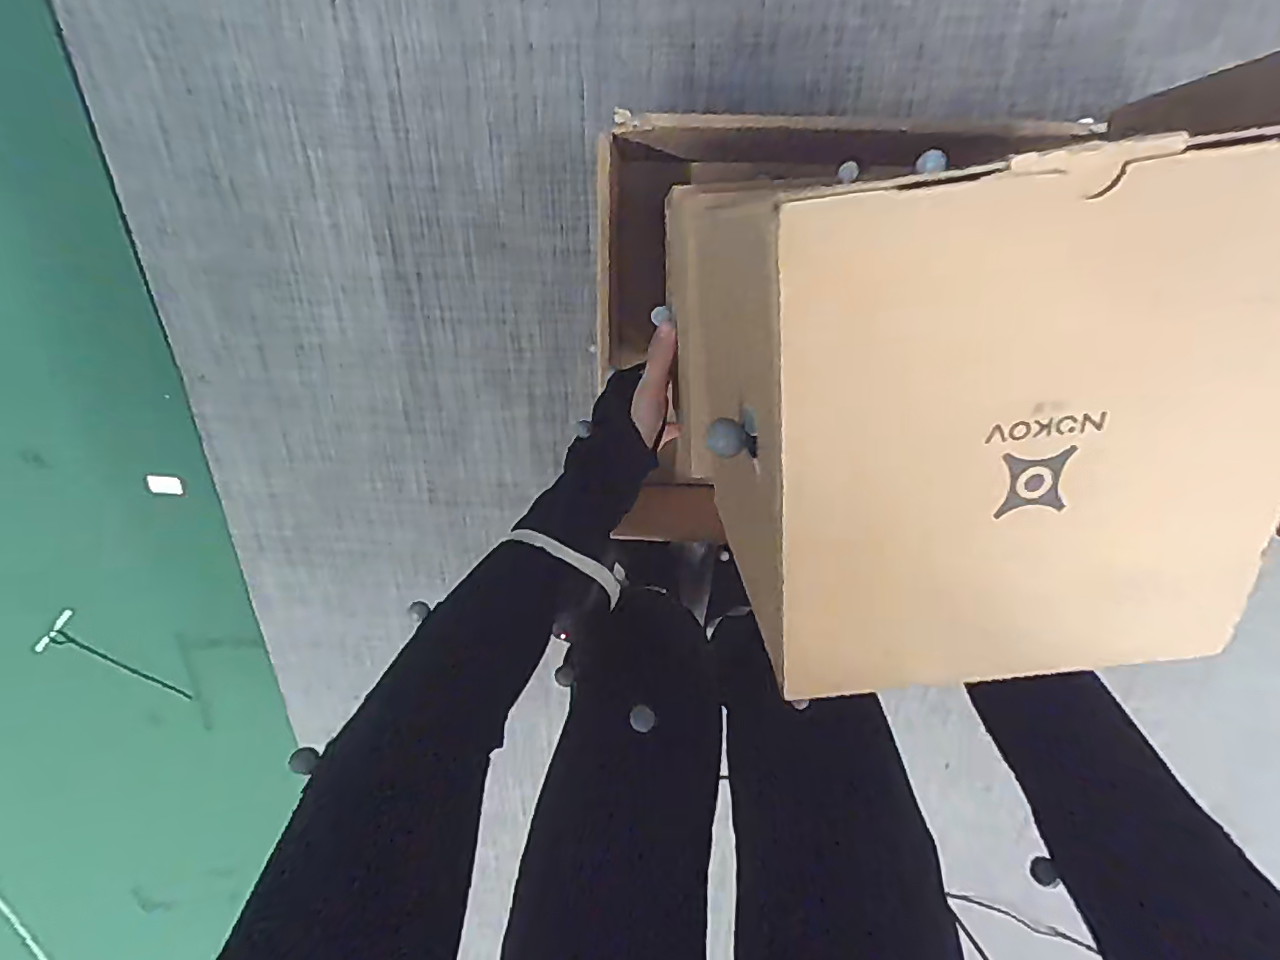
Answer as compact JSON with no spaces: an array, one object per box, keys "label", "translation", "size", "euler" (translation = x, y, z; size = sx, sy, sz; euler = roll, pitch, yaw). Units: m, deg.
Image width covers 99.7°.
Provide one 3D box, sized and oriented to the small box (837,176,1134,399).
[{"label":"small box","translation":[0.306,-0.187,0.528],"size":[0.168,0.176,0.179],"euler":[2,114,3]}]
